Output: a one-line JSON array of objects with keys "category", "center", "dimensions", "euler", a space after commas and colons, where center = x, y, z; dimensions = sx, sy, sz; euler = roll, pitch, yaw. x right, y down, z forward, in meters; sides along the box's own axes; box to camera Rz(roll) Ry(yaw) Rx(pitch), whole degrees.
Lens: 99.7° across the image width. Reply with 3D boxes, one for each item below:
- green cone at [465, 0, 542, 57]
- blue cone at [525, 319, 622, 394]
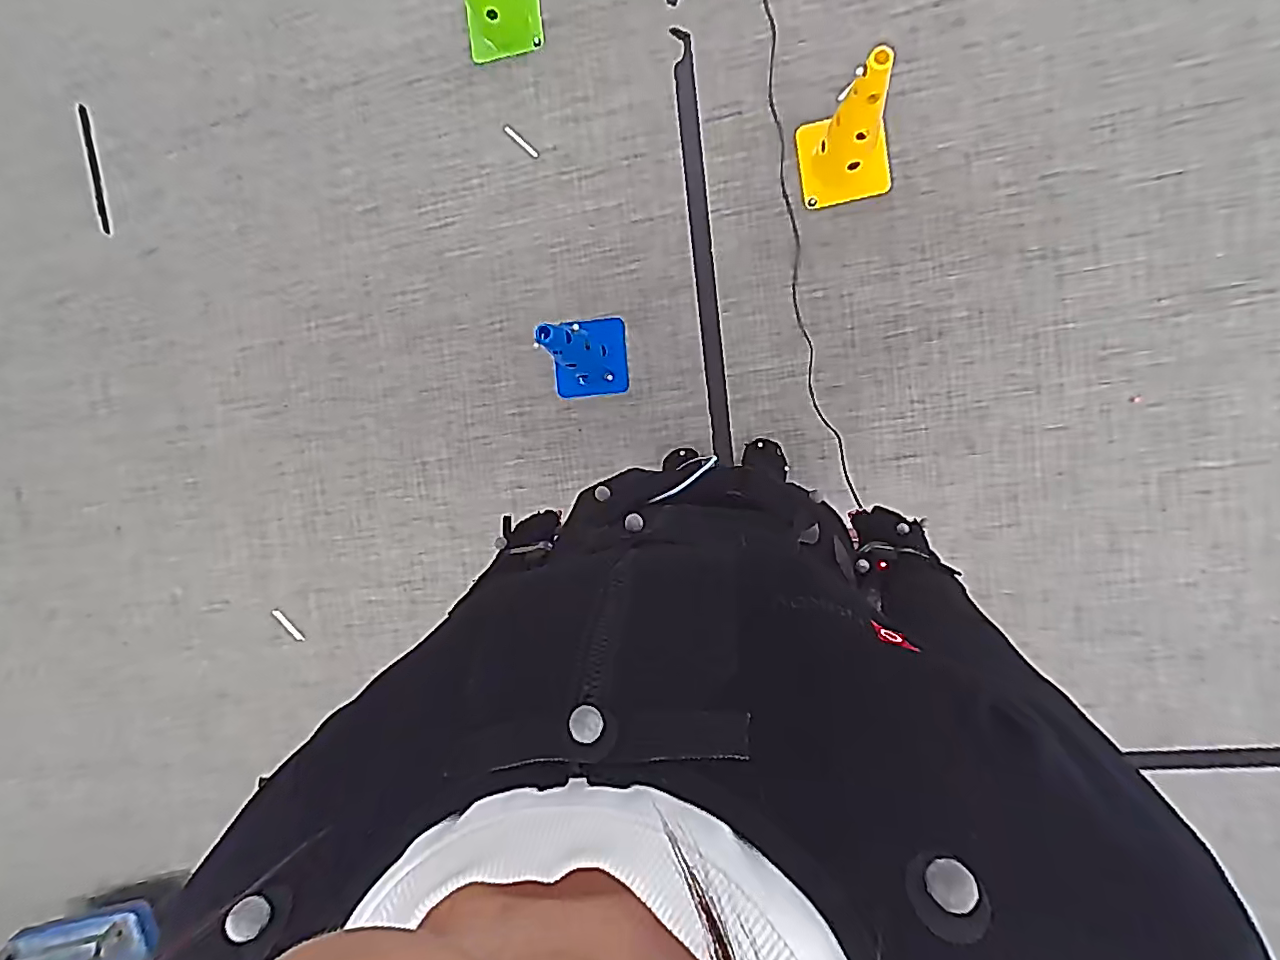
[{"category": "green cone", "center": [-0.391, -1.210, 1.236], "dimensions": [0.202, 0.368, 0.200], "euler": [-6, 94, 12]}, {"category": "blue cone", "center": [-0.174, -0.318, 1.287], "dimensions": [0.192, 0.380, 0.193], "euler": [-2, 94, 11]}]
